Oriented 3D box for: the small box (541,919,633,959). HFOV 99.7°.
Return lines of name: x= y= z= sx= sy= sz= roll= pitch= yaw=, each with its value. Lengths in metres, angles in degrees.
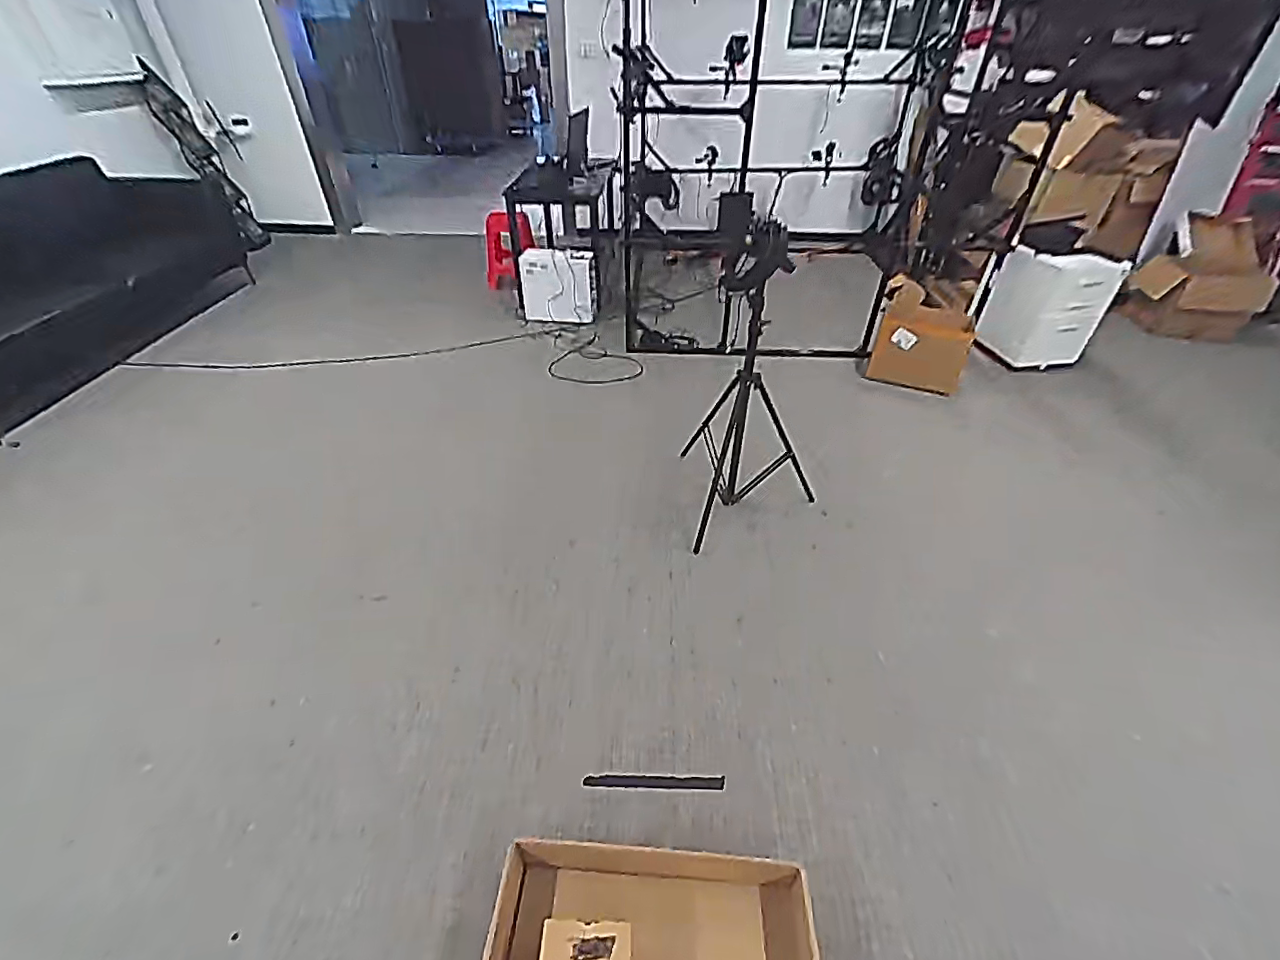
small box: x=-0.101 y=0.941 z=0.992 sx=0.168 sy=0.176 sz=0.179 roll=2 pitch=39 yaw=0
